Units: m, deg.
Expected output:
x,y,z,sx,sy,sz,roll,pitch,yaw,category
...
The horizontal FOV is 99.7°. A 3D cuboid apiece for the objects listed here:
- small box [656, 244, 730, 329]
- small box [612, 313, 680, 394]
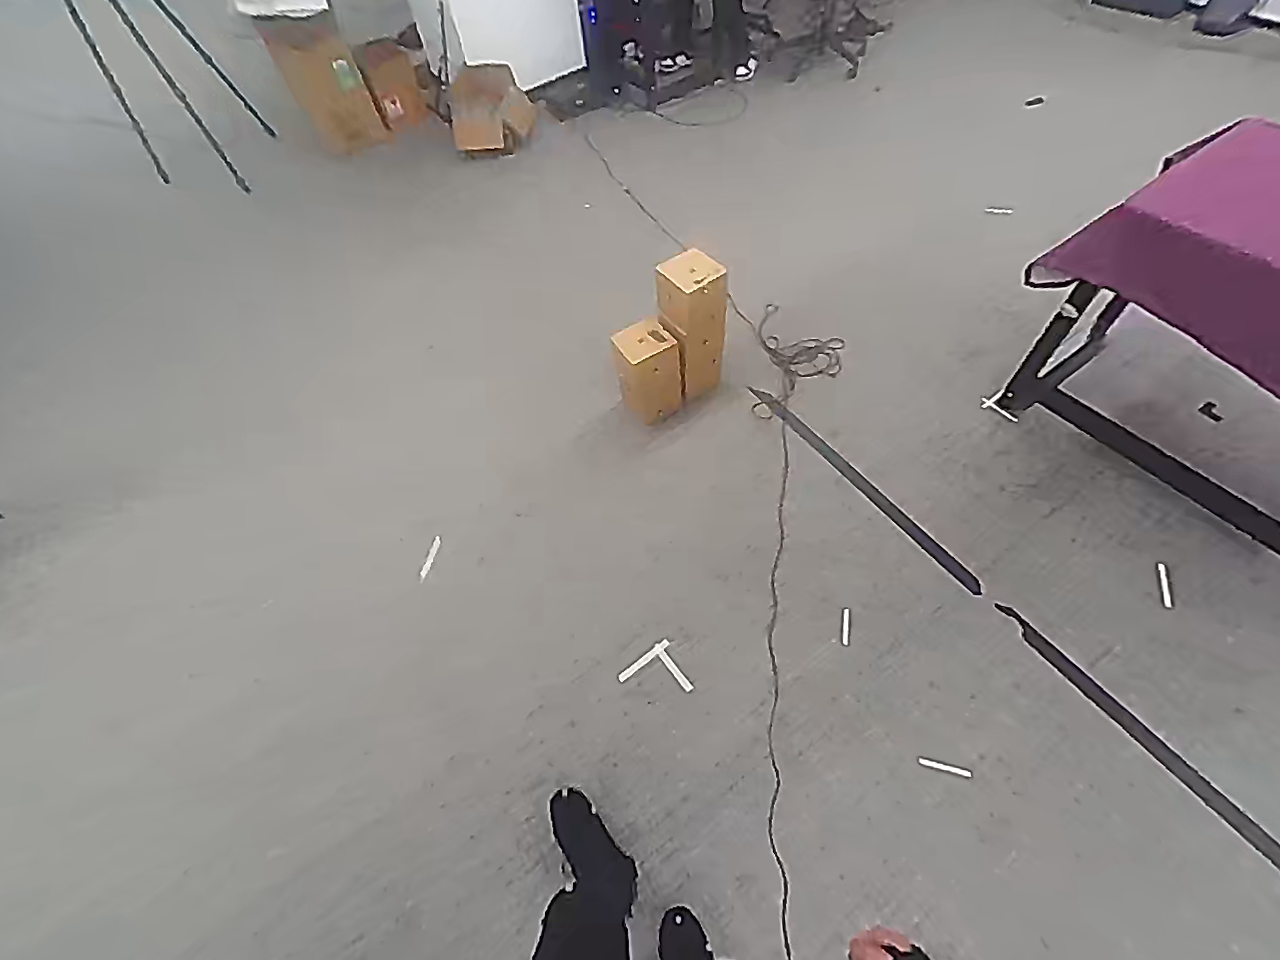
x,y,z,sx,sy,sz,roll,pitch,yaw,category
0.173,-0.626,1.754,0.168,0.176,0.179,-34,59,-13,small box
0.025,-0.427,1.842,0.179,0.176,0.168,-29,59,-10,small box
